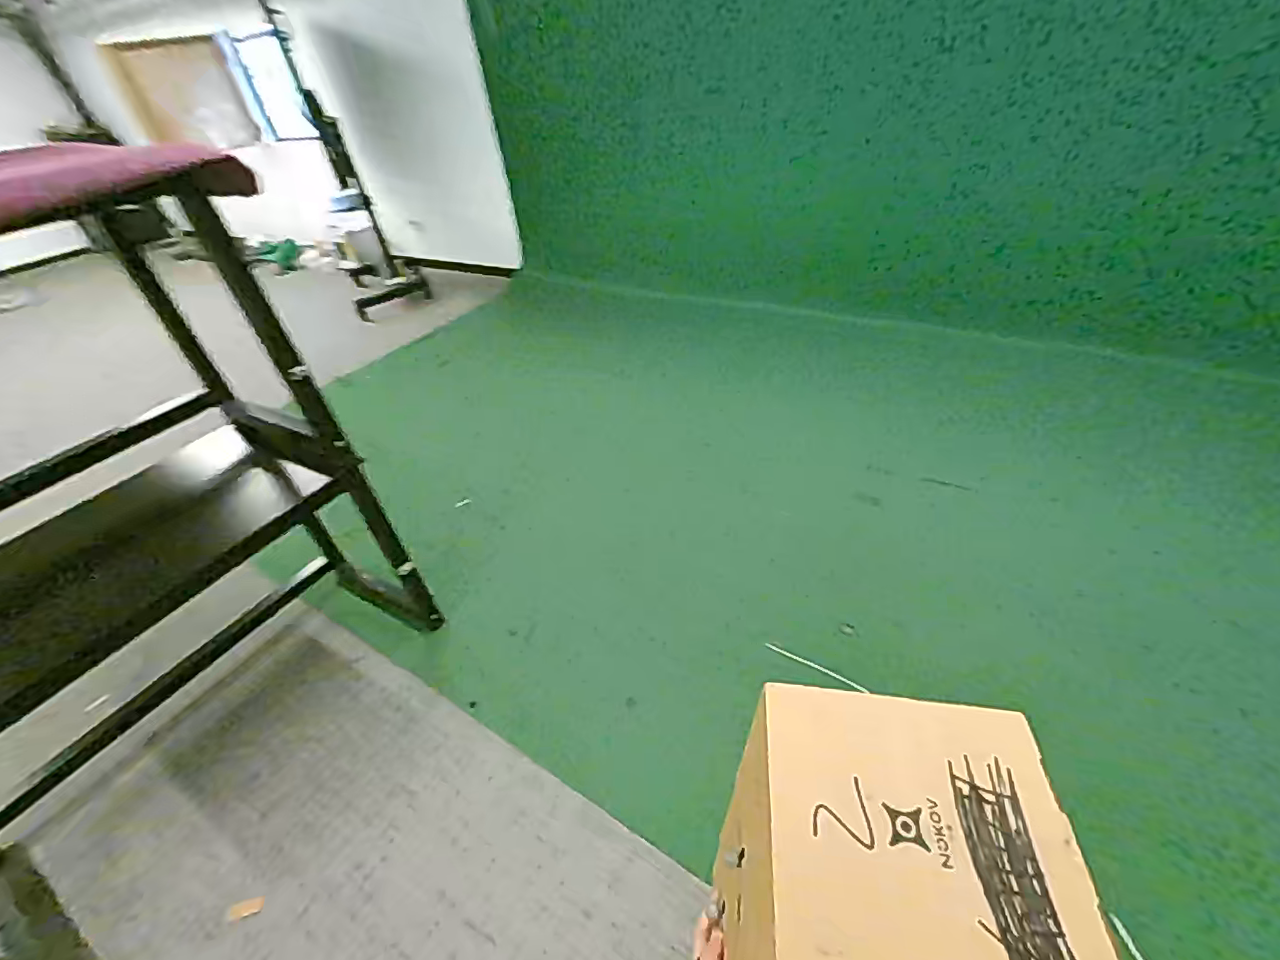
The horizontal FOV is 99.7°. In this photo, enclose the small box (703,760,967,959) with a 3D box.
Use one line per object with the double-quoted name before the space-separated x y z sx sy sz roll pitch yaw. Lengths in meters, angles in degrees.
"small box" 0.152 0.374 0.475 0.179 0.176 0.168 5 41 5
